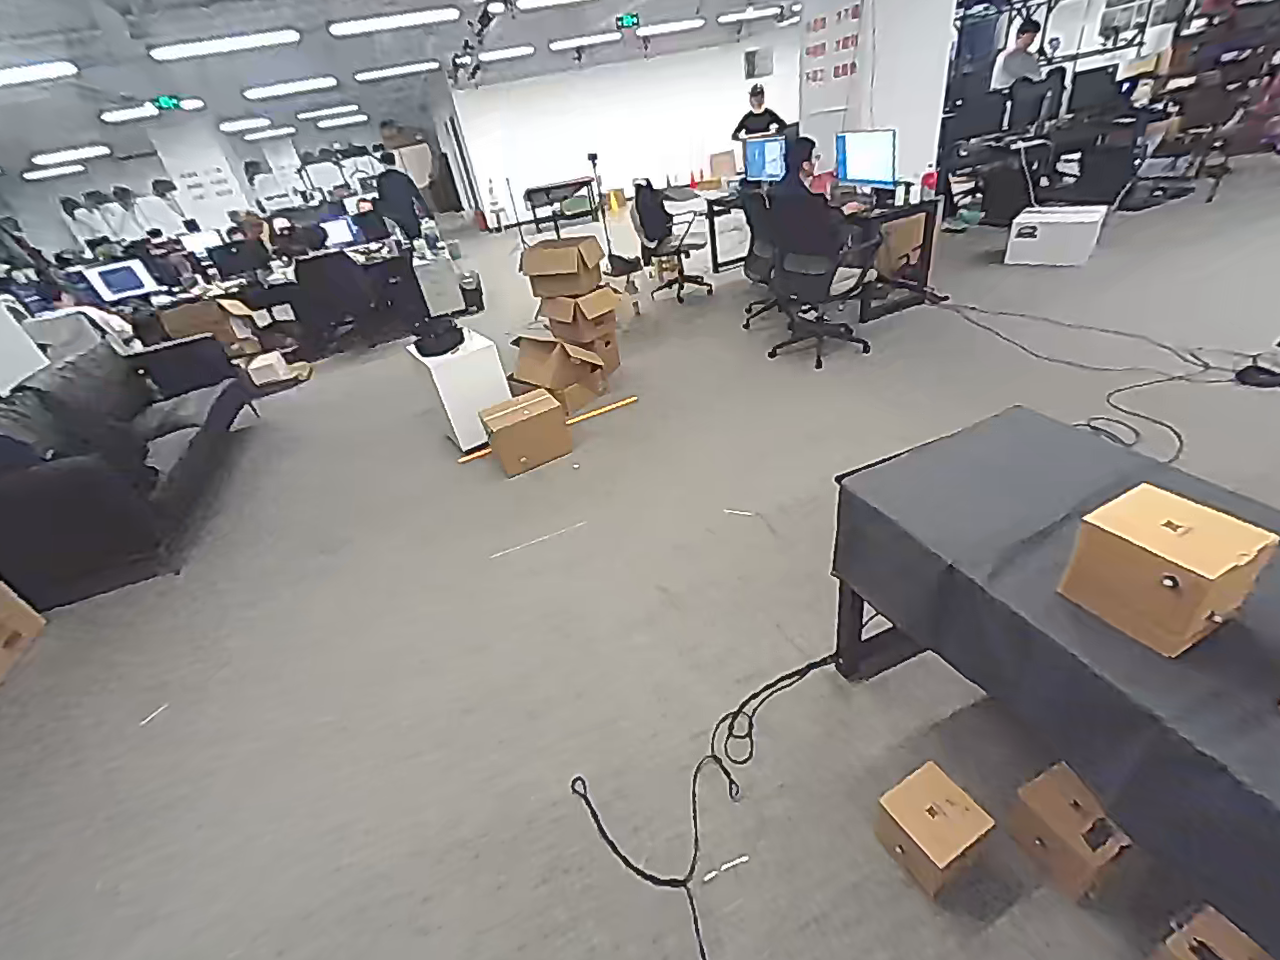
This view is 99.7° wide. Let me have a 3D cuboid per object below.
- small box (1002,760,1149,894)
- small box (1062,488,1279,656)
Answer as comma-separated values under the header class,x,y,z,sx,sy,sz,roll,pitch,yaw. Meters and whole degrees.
class,x,y,z,sx,sy,sz,roll,pitch,yaw
small box,0.958,0.779,1.206,0.168,0.176,0.179,-20,34,-14
small box,0.834,0.144,0.870,0.168,0.176,0.179,-22,35,-16
